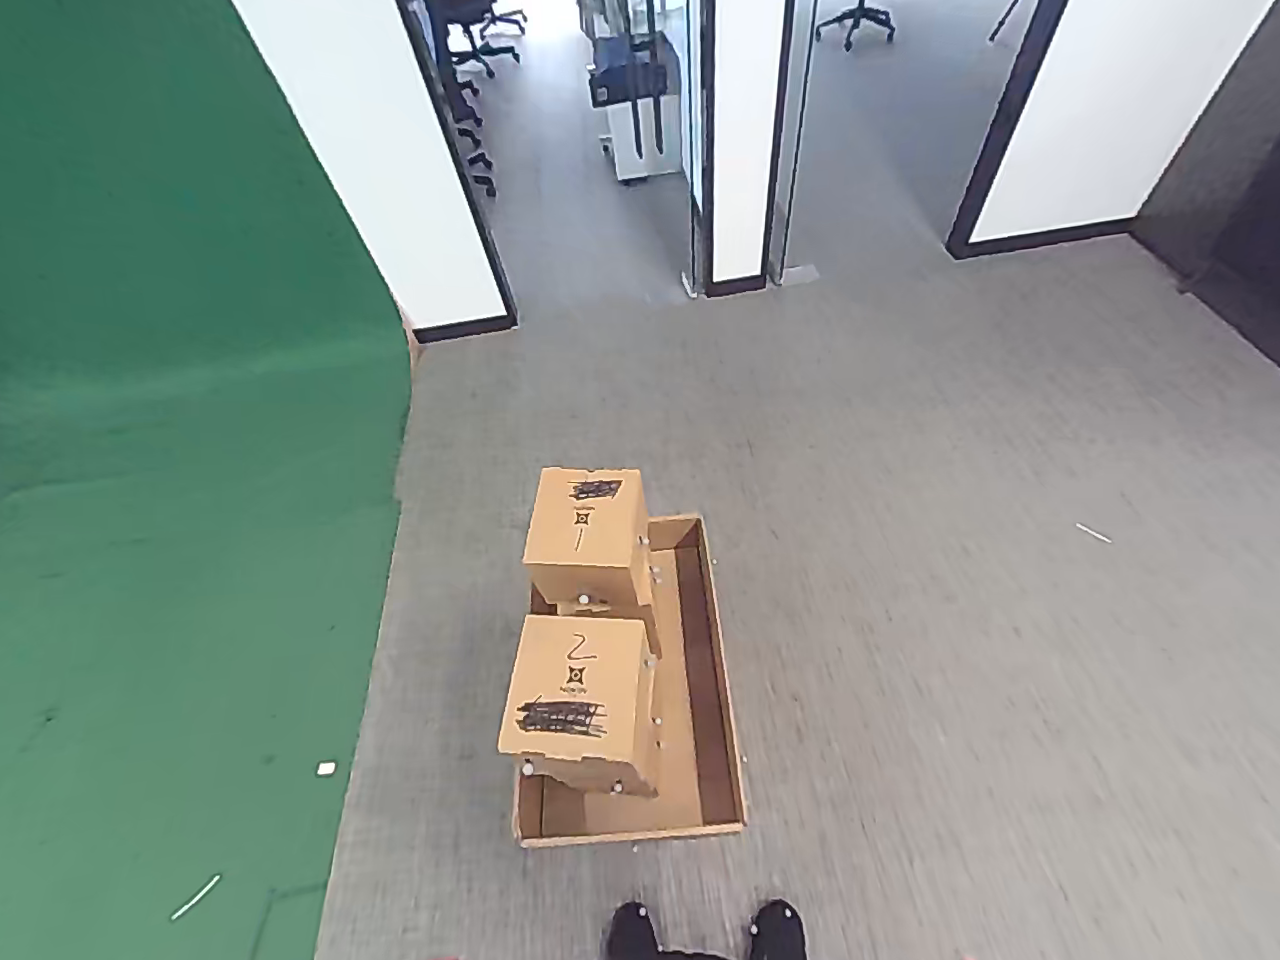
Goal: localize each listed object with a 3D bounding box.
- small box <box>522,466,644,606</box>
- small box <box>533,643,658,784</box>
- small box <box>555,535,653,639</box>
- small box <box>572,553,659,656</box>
[{"bbox_3d":[-0.084,0.095,0.911,0.168,0.176,0.179,1,57,7],"label":"small box"},{"bbox_3d":[-0.062,0.390,0.895,0.168,0.176,0.179,3,54,7],"label":"small box"},{"bbox_3d":[-0.066,0.190,1.043,0.168,0.176,0.179,-6,56,1],"label":"small box"},{"bbox_3d":[-0.051,0.280,1.178,0.168,0.176,0.179,-7,56,2],"label":"small box"}]
